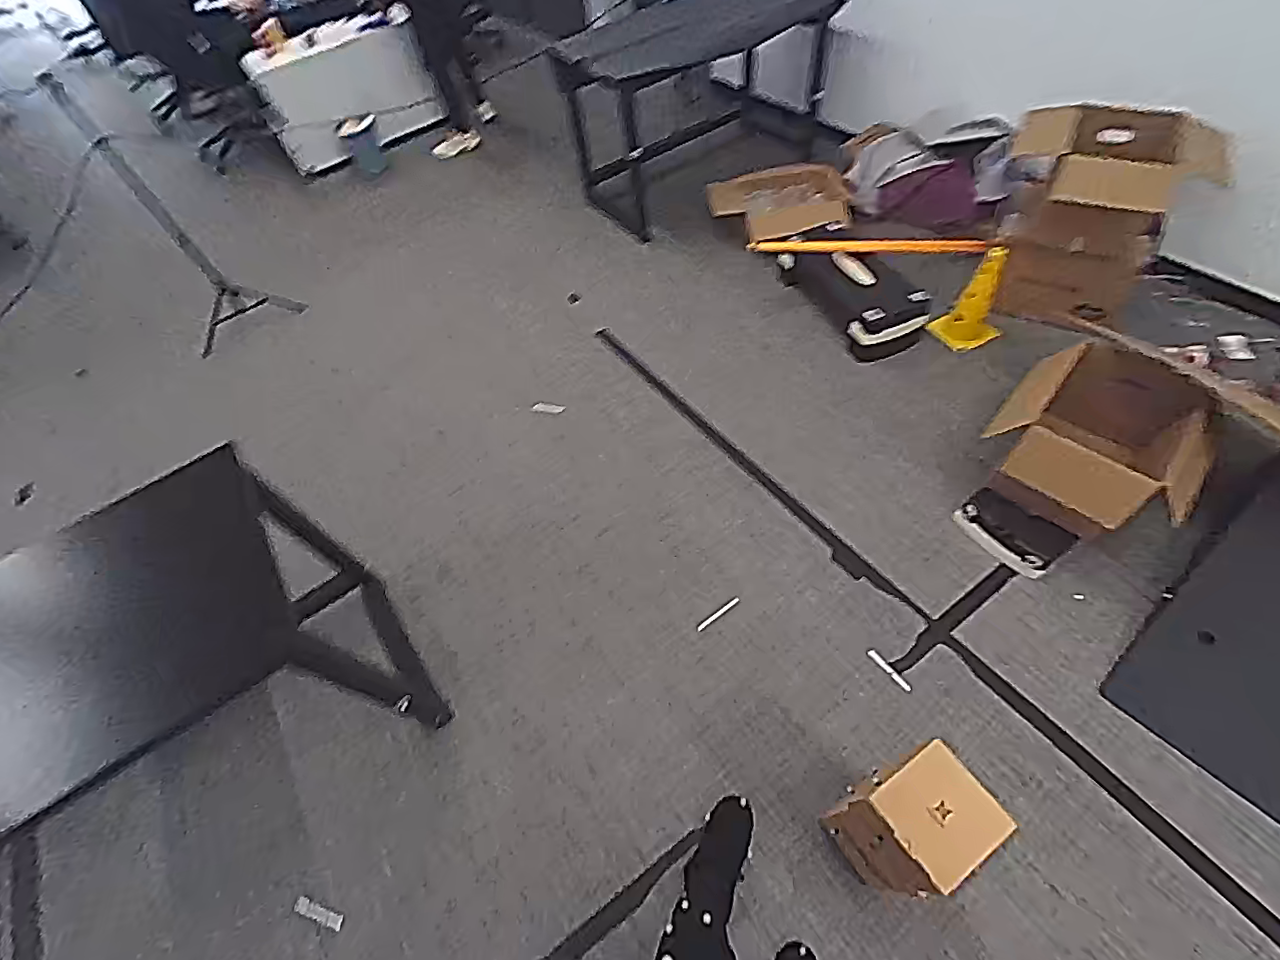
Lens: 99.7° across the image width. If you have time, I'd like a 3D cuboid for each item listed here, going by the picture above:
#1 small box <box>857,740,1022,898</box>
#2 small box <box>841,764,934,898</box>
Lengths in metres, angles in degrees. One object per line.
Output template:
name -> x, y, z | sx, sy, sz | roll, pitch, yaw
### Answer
small box -> 0.522, 0.602, 0.972 | 0.179, 0.176, 0.168 | -32, 59, -13
small box -> 0.539, 0.702, 1.099 | 0.168, 0.176, 0.179 | -33, 59, -15
